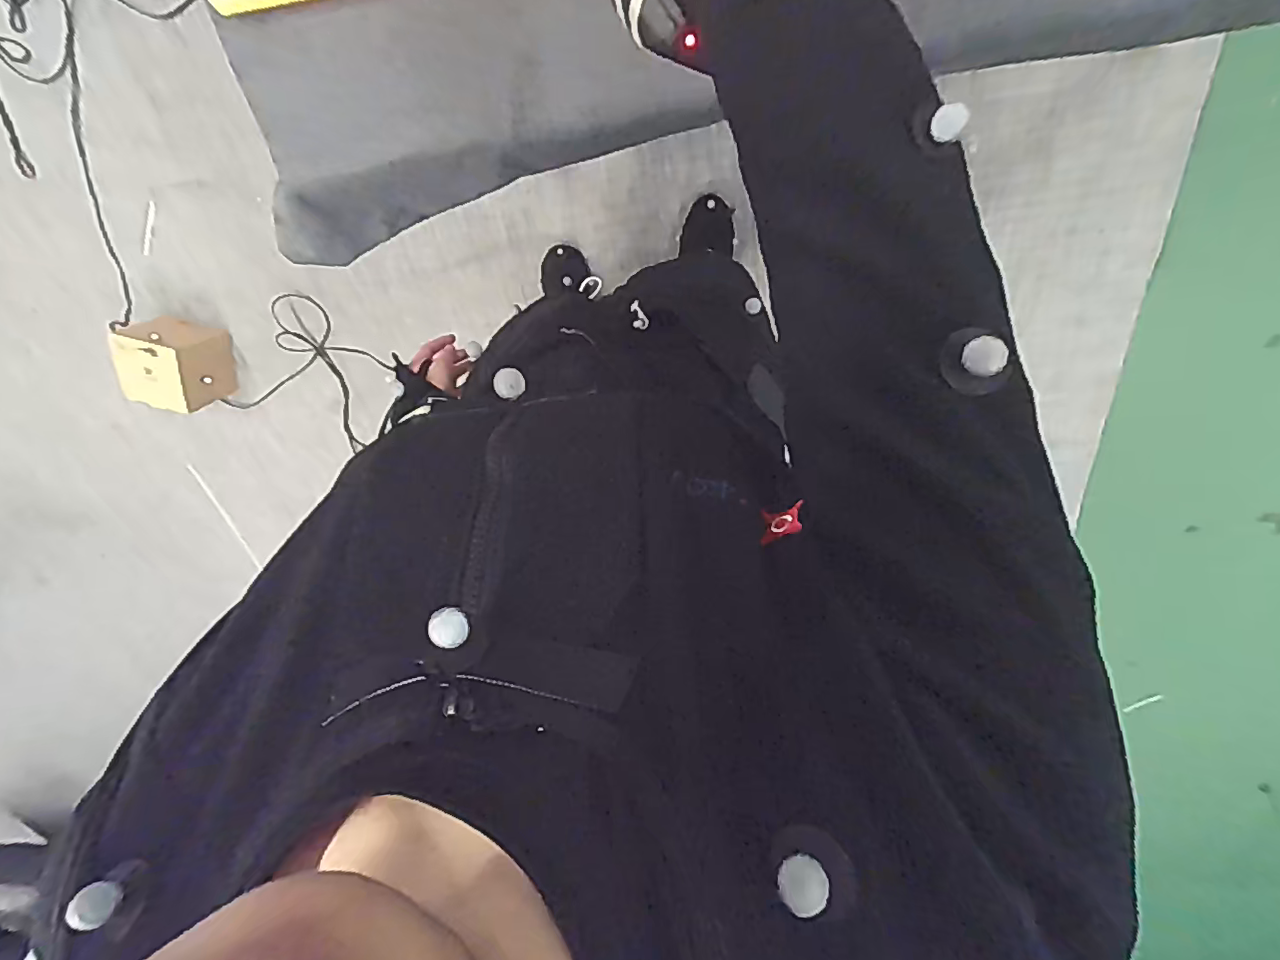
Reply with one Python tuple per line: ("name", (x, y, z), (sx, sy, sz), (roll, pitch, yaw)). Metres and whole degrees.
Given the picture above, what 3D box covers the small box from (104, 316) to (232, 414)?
("small box", (-1.183, -0.297, 1.376), (0.168, 0.176, 0.179), (15, 121, -1))
